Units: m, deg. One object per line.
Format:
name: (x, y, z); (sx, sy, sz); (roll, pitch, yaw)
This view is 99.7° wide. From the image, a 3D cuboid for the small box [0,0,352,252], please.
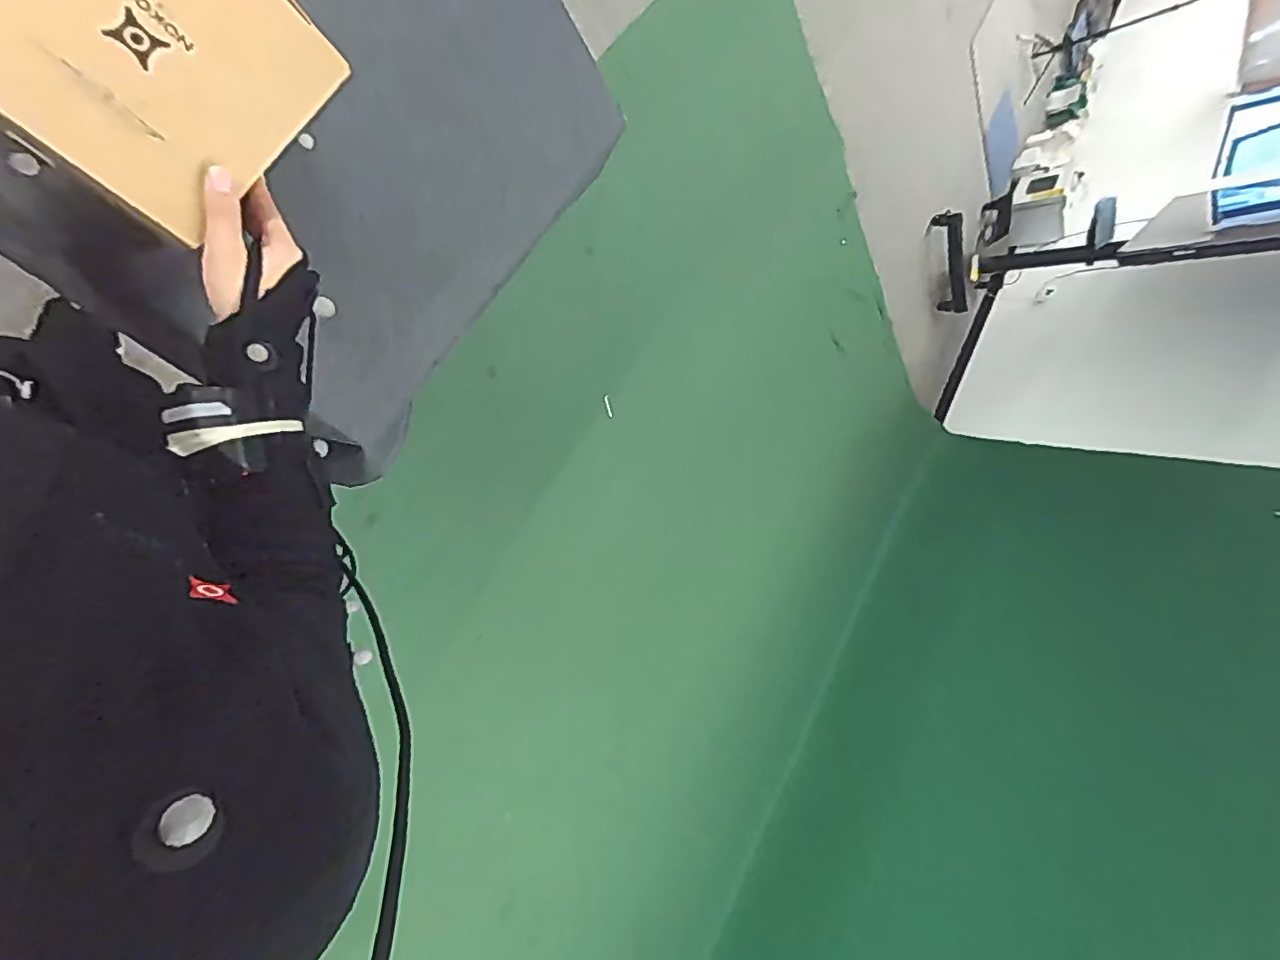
small box: (-0.348, -0.287, 0.377); (0.168, 0.176, 0.179); (40, 78, -45)
